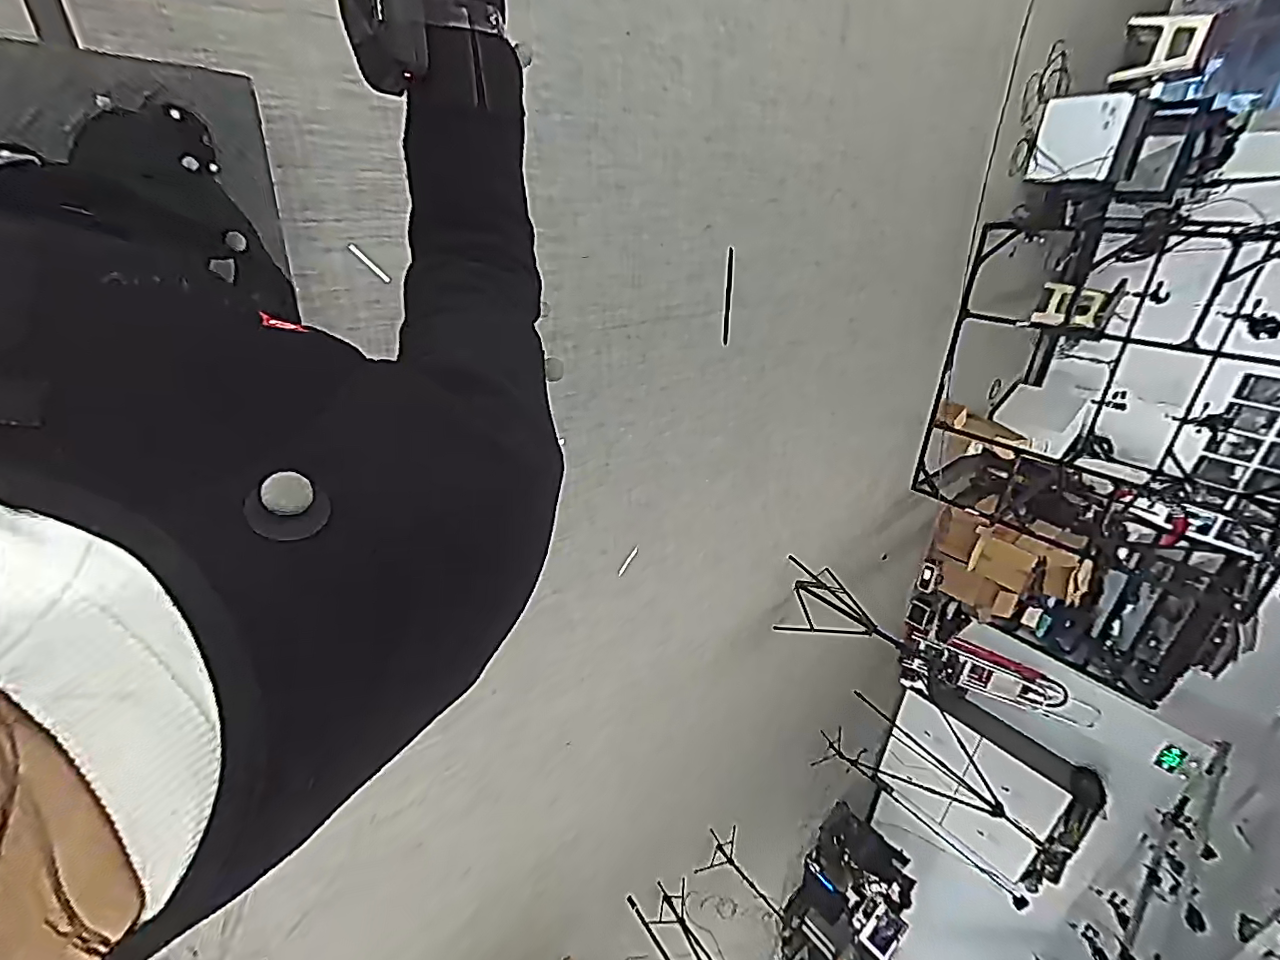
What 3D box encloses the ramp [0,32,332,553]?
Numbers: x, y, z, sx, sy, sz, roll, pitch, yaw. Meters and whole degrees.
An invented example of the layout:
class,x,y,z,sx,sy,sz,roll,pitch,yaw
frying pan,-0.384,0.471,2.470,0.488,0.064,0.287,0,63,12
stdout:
class,x,y,z,sx,sy,sz,roll,pitch,yaw
ramp,-0.991,-0.292,1.134,0.509,0.206,0.991,-21,125,-35
